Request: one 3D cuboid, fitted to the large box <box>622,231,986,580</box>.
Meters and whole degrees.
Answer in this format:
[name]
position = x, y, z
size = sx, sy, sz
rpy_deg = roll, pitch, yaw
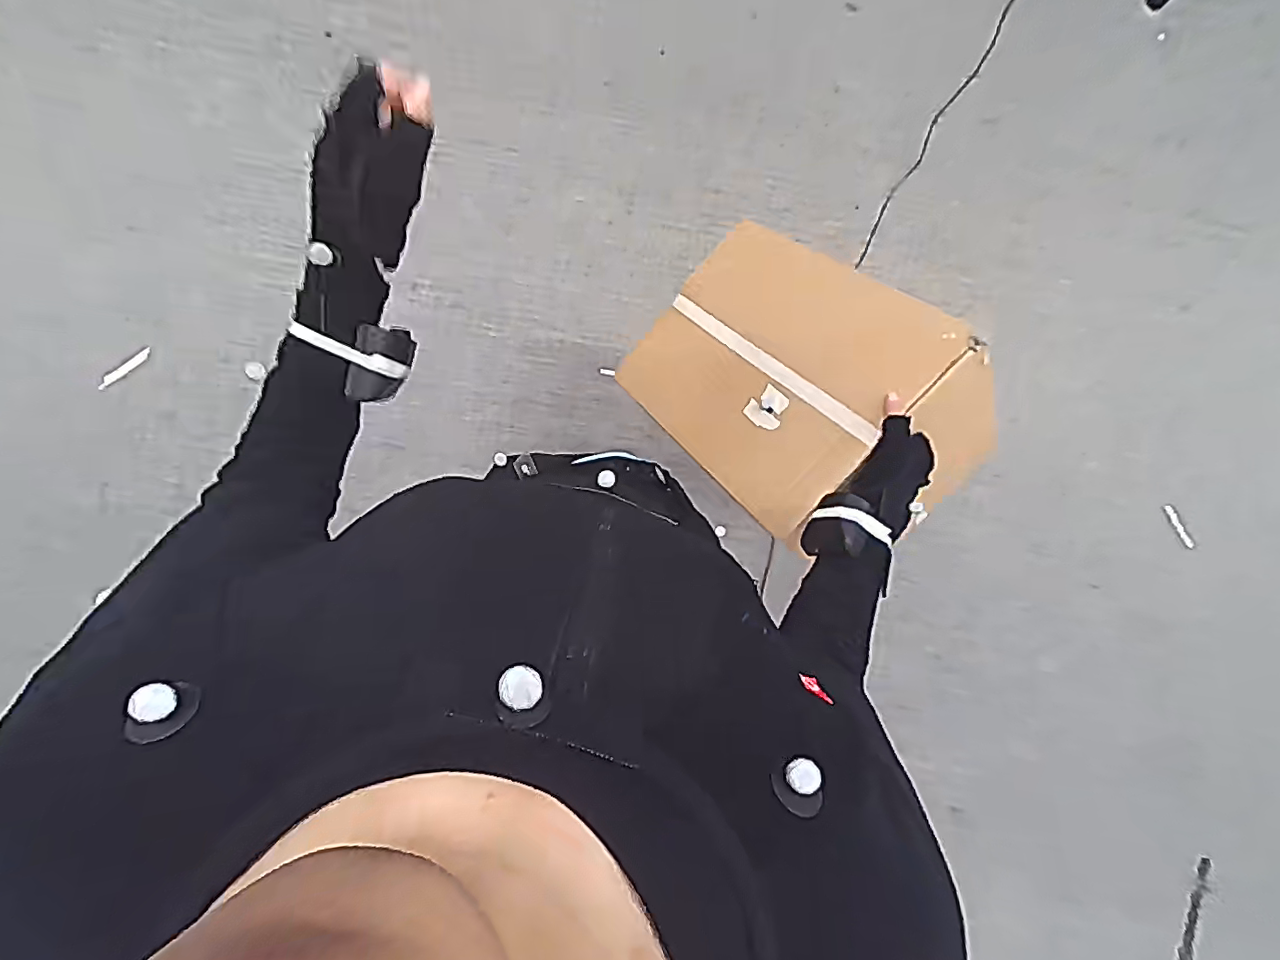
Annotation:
[large box]
position = 0.249, -0.110, 0.851
size = 0.320, 0.320, 0.408
rpy_deg = -48, 52, 10
